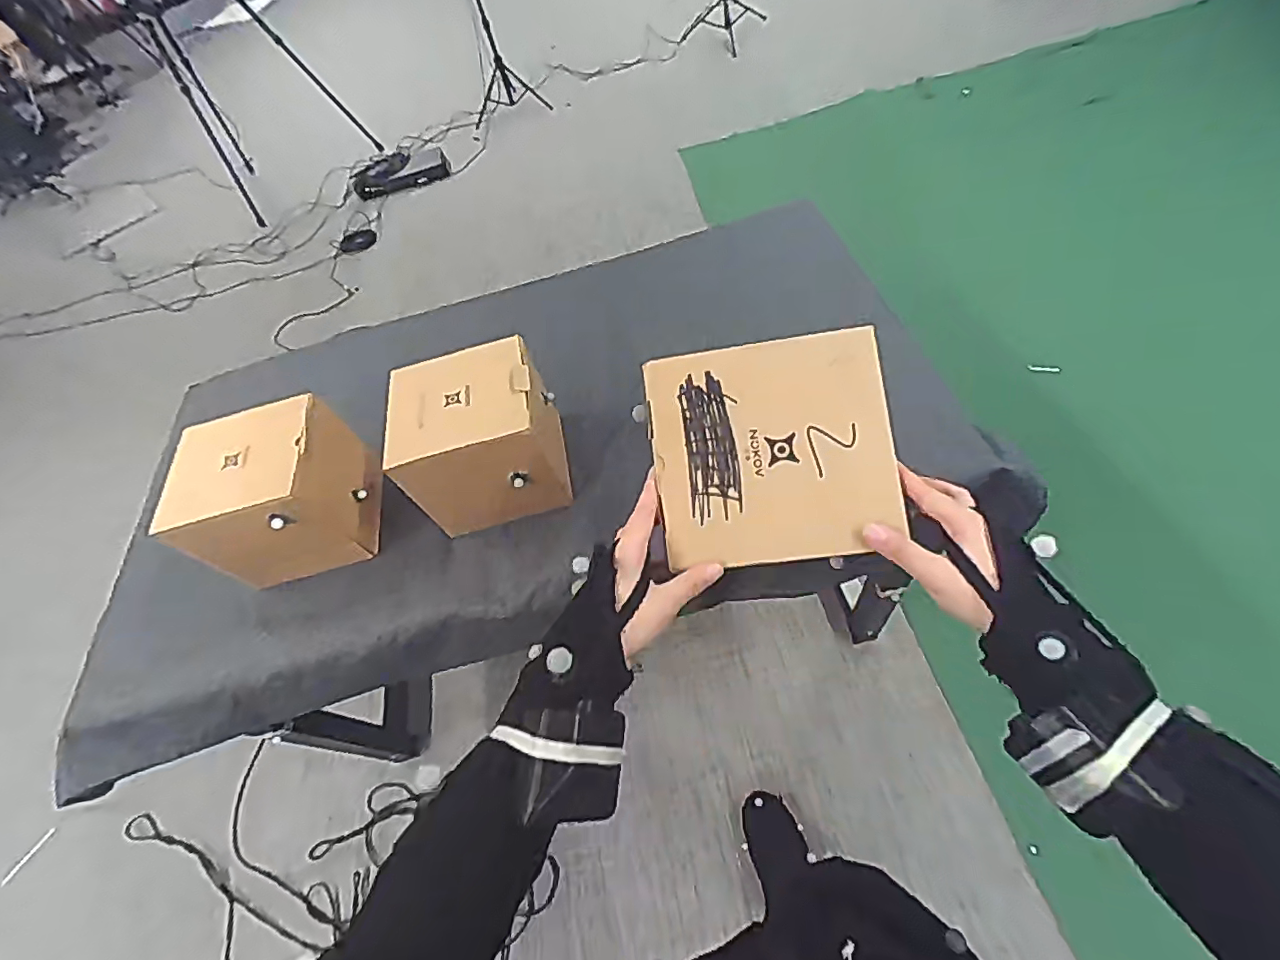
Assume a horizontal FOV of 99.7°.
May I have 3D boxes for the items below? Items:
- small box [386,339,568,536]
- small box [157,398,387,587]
[{"bbox_3d":[-0.203,-0.049,0.714,0.179,0.176,0.168,-17,54,3],"label":"small box"},{"bbox_3d":[-0.473,0.024,0.728,0.179,0.176,0.168,-16,55,1],"label":"small box"}]
